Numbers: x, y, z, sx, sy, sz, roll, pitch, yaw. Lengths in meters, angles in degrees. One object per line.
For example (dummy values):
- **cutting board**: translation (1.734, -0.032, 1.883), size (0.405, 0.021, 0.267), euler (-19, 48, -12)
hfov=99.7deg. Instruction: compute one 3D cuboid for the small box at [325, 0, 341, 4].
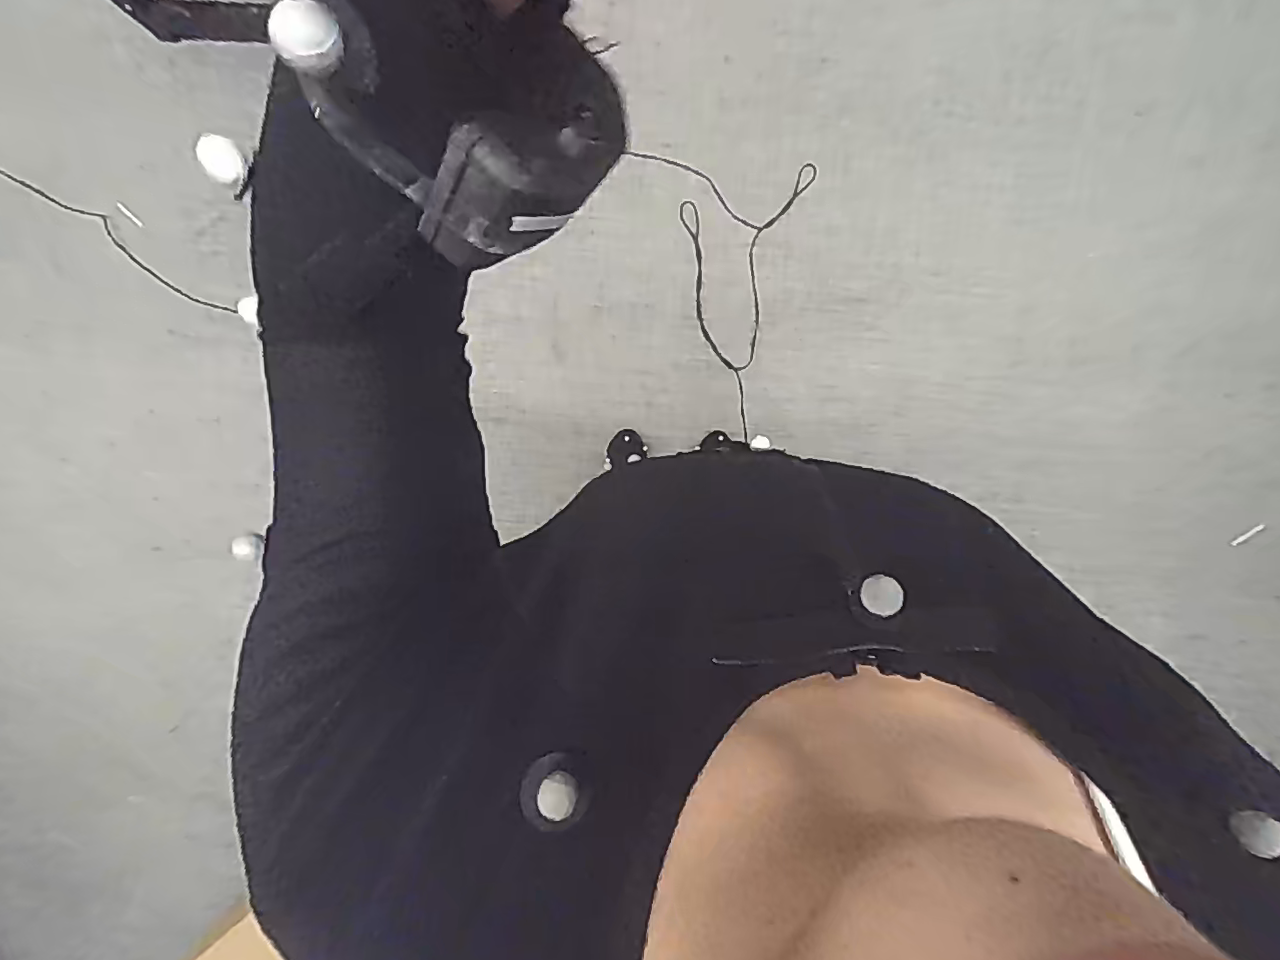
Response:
- **small box**: translation (-0.811, -1.337, 1.329), size (0.179, 0.176, 0.168), euler (37, 94, -1)
